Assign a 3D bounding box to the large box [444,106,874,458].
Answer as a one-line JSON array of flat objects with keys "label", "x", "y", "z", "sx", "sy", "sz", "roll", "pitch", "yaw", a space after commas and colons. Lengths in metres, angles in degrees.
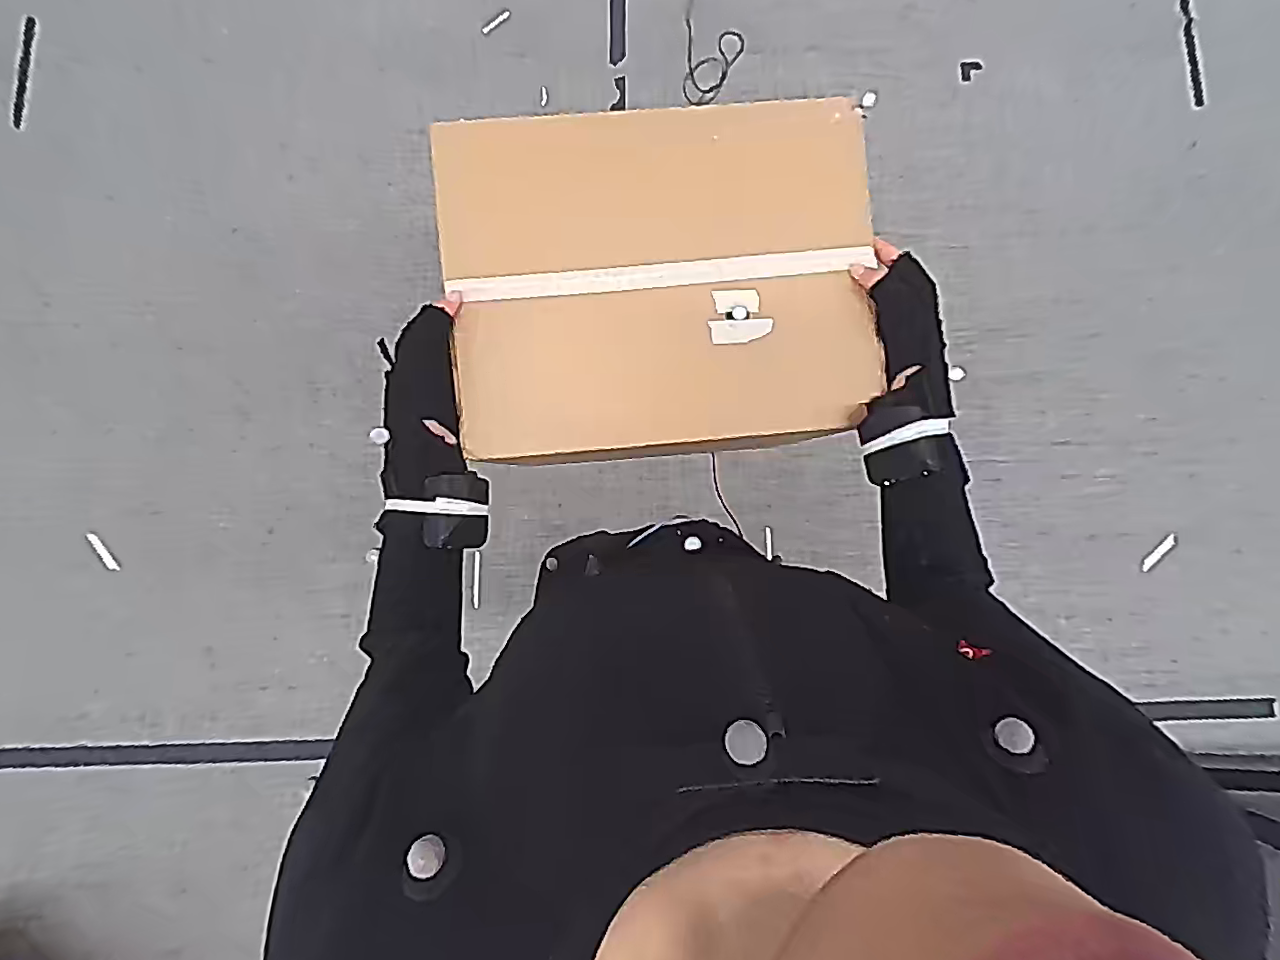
[{"label": "large box", "x": 0.014, "y": -0.200, "z": 0.671, "sx": 0.408, "sy": 0.320, "sz": 0.320, "roll": -4, "pitch": 92, "yaw": -3}]
